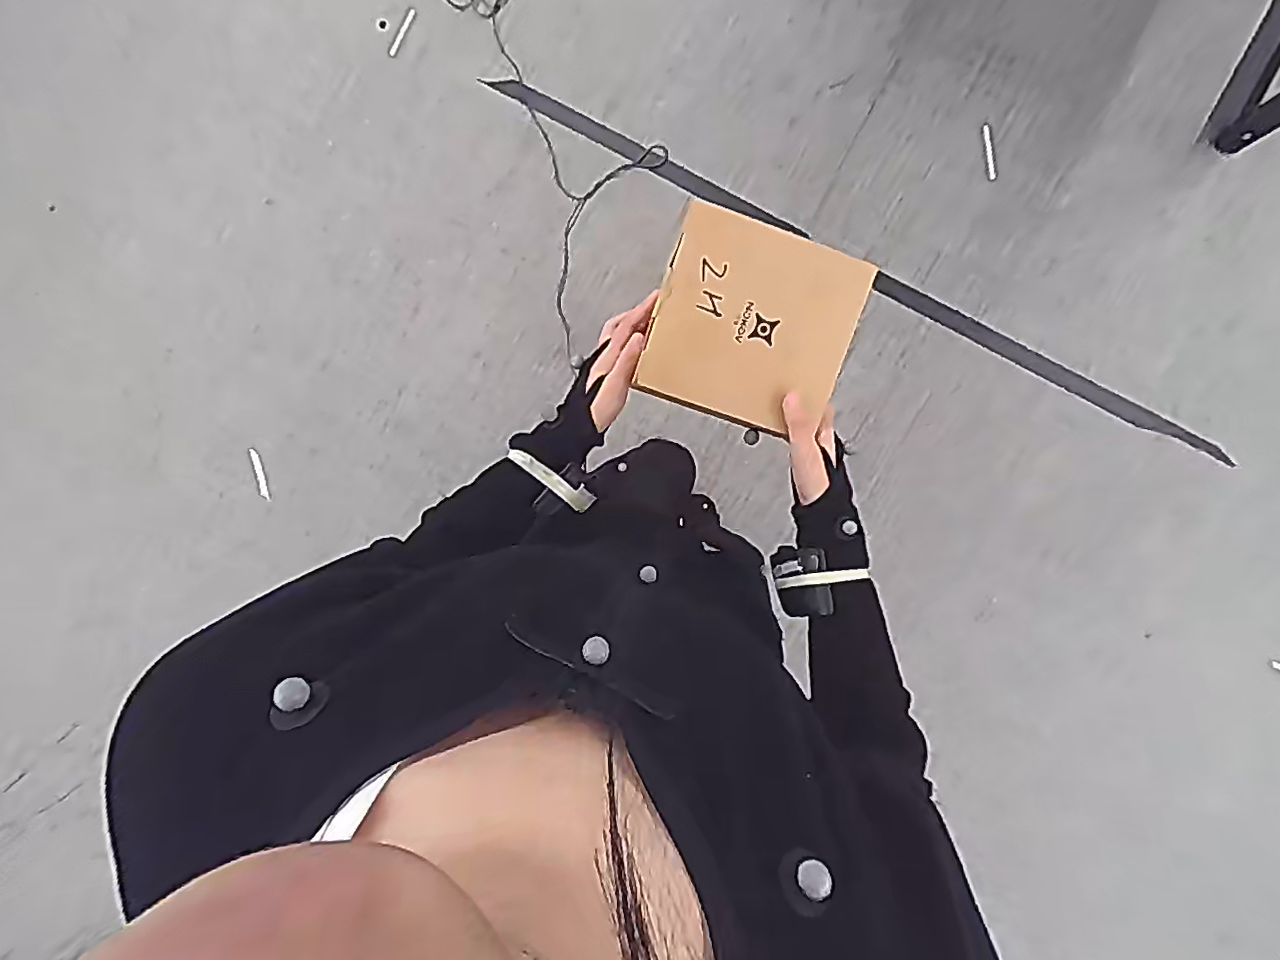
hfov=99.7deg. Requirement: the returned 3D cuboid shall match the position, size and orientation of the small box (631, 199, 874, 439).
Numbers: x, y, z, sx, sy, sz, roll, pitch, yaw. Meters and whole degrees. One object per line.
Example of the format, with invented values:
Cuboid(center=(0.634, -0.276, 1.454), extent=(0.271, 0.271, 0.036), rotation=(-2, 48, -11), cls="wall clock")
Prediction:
Cuboid(center=(0.098, -0.152, 0.560), extent=(0.179, 0.176, 0.168), rotation=(18, 97, -5), cls="small box")
